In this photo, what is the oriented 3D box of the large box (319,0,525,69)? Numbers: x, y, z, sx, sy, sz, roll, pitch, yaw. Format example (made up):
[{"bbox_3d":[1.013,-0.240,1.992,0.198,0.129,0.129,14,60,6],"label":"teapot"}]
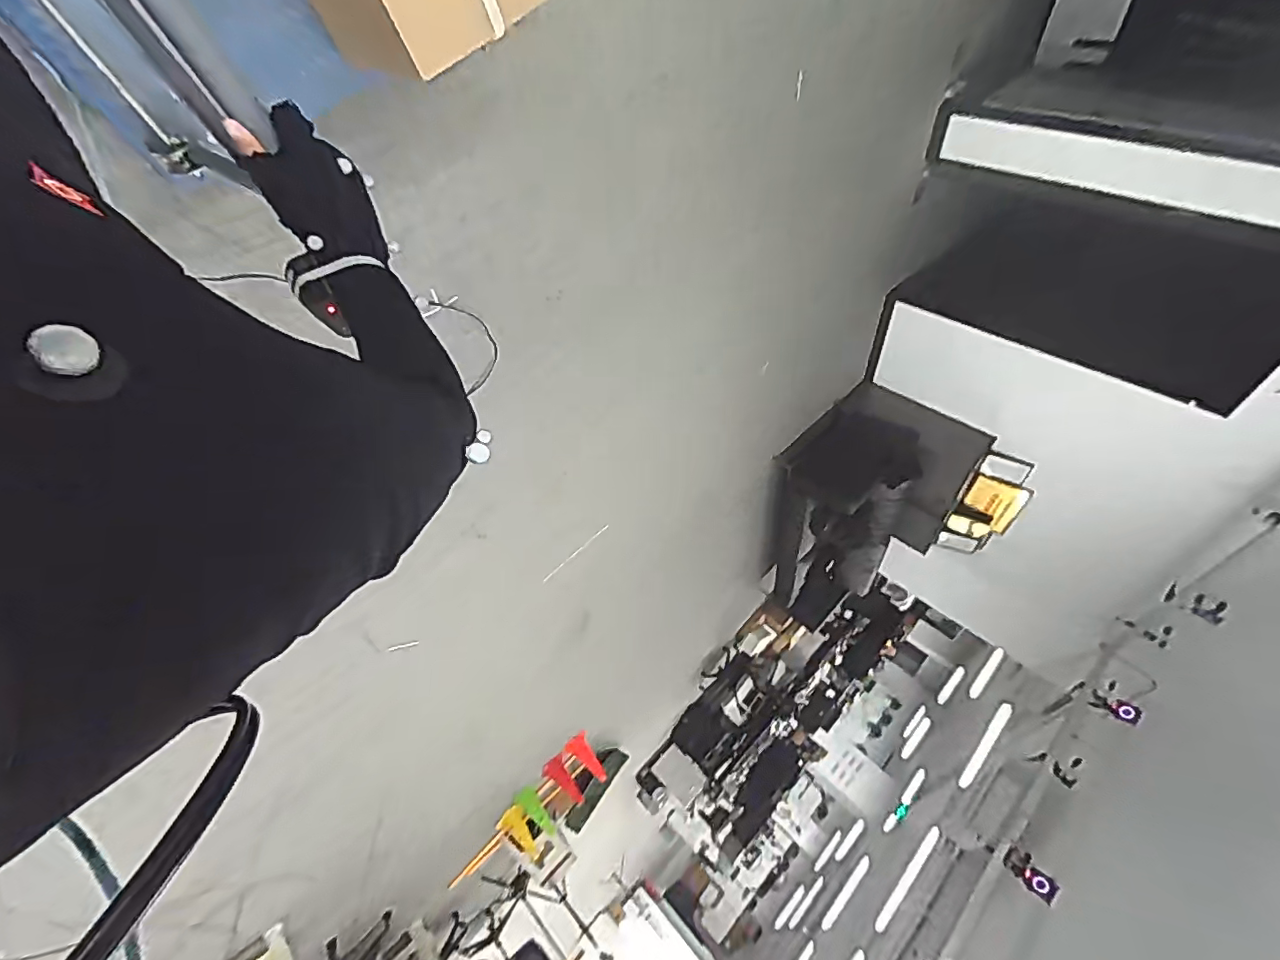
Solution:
[{"bbox_3d":[-0.387,-0.924,0.798,0.320,0.320,0.408,-46,148,-13],"label":"large box"}]
